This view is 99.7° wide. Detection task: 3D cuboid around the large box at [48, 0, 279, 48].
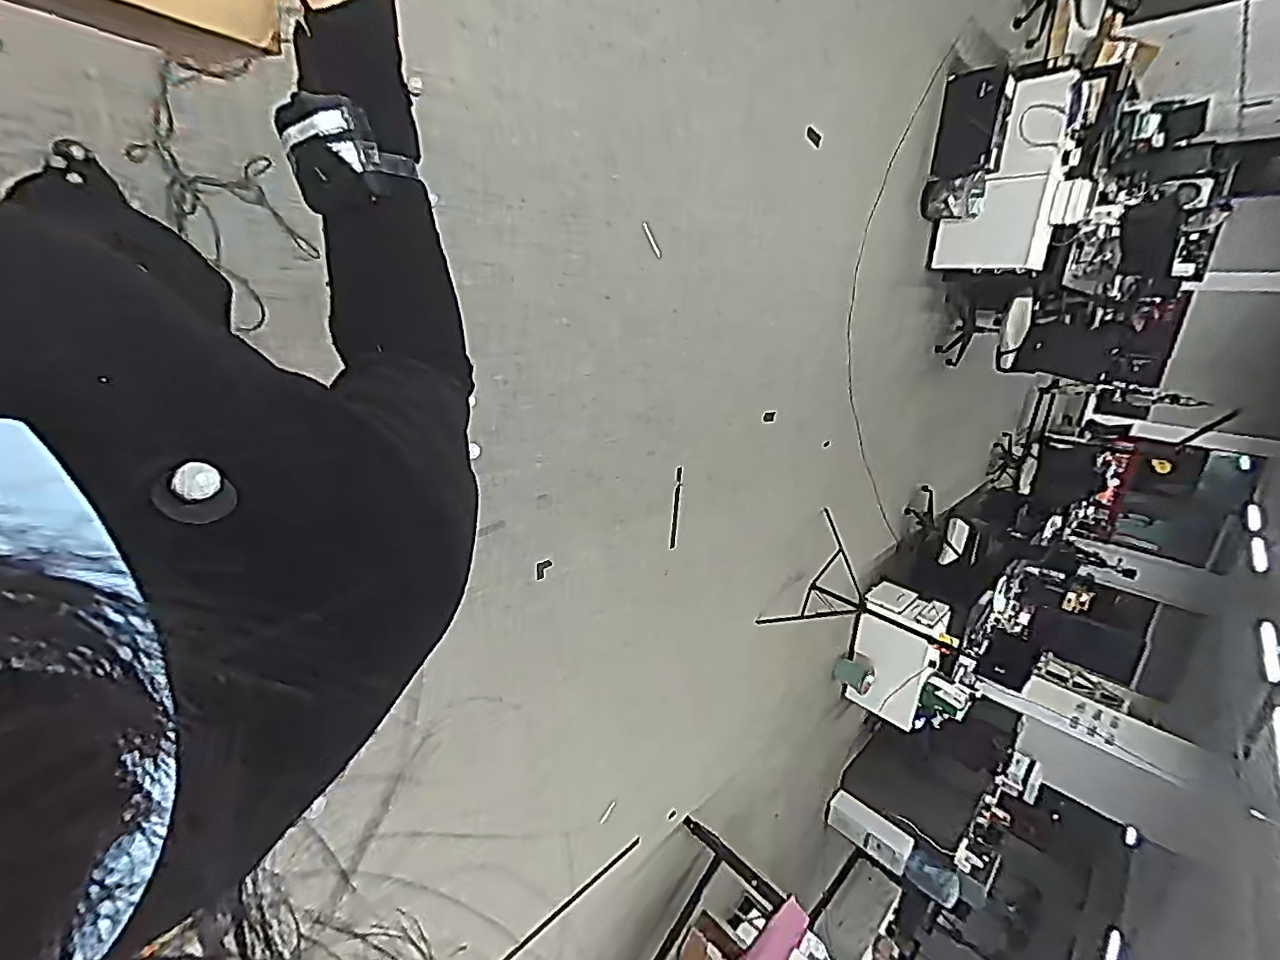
[{"bbox_3d":[-0.459,-0.484,0.279,0.408,0.320,0.320,-9,122,-41],"label":"large box"}]
